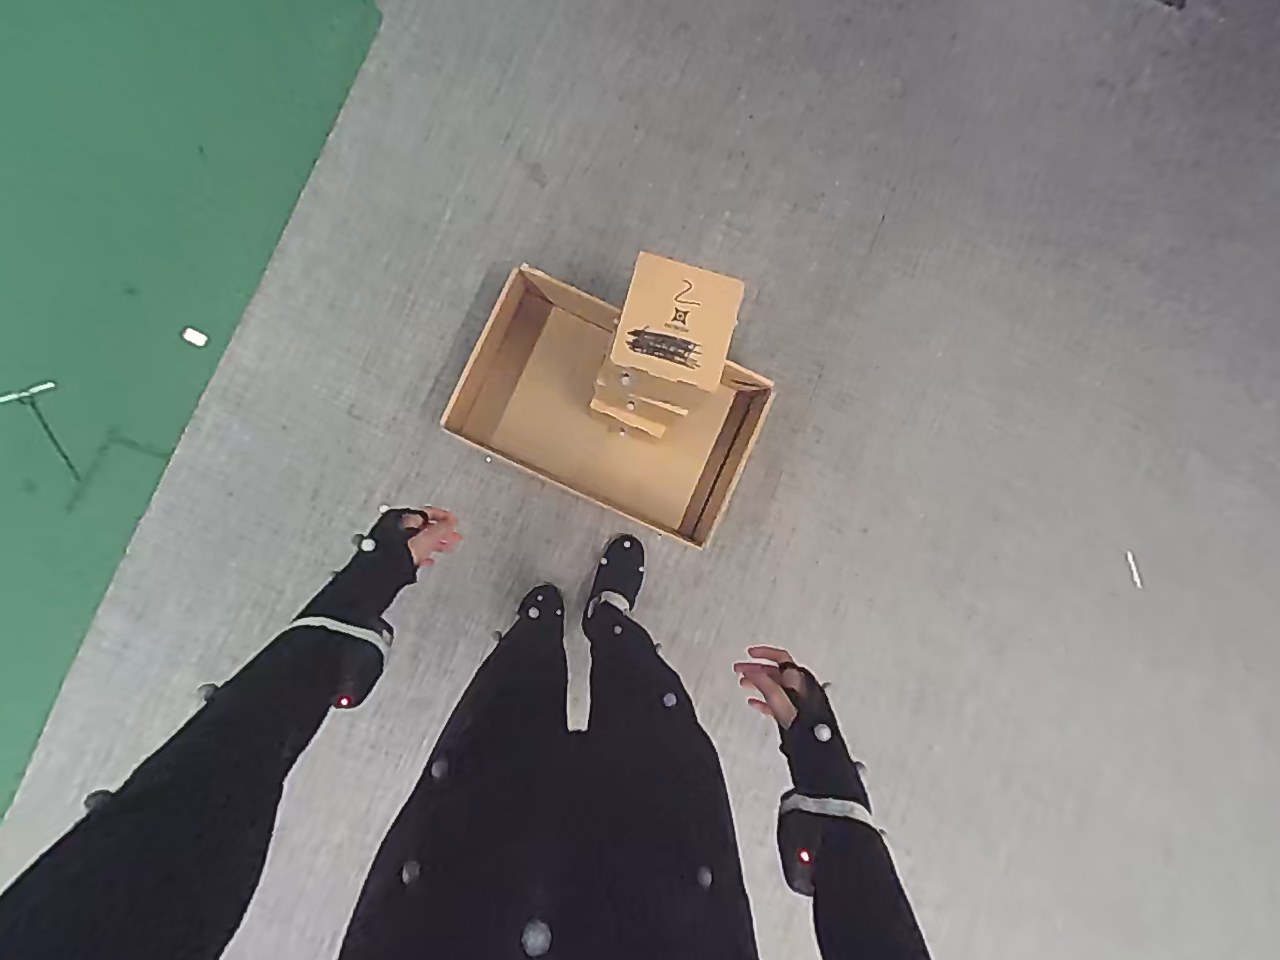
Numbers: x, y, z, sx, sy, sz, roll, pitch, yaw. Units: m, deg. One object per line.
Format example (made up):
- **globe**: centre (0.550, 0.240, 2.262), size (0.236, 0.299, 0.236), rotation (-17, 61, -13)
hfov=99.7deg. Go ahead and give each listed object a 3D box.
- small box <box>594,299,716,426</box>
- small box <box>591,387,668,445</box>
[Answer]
- **small box**: centre (0.025, -0.212, 1.030), size (0.179, 0.176, 0.168), rotation (20, 87, 0)
- **small box**: centre (0.004, -0.192, 1.192), size (0.168, 0.176, 0.179), rotation (24, 88, 0)
